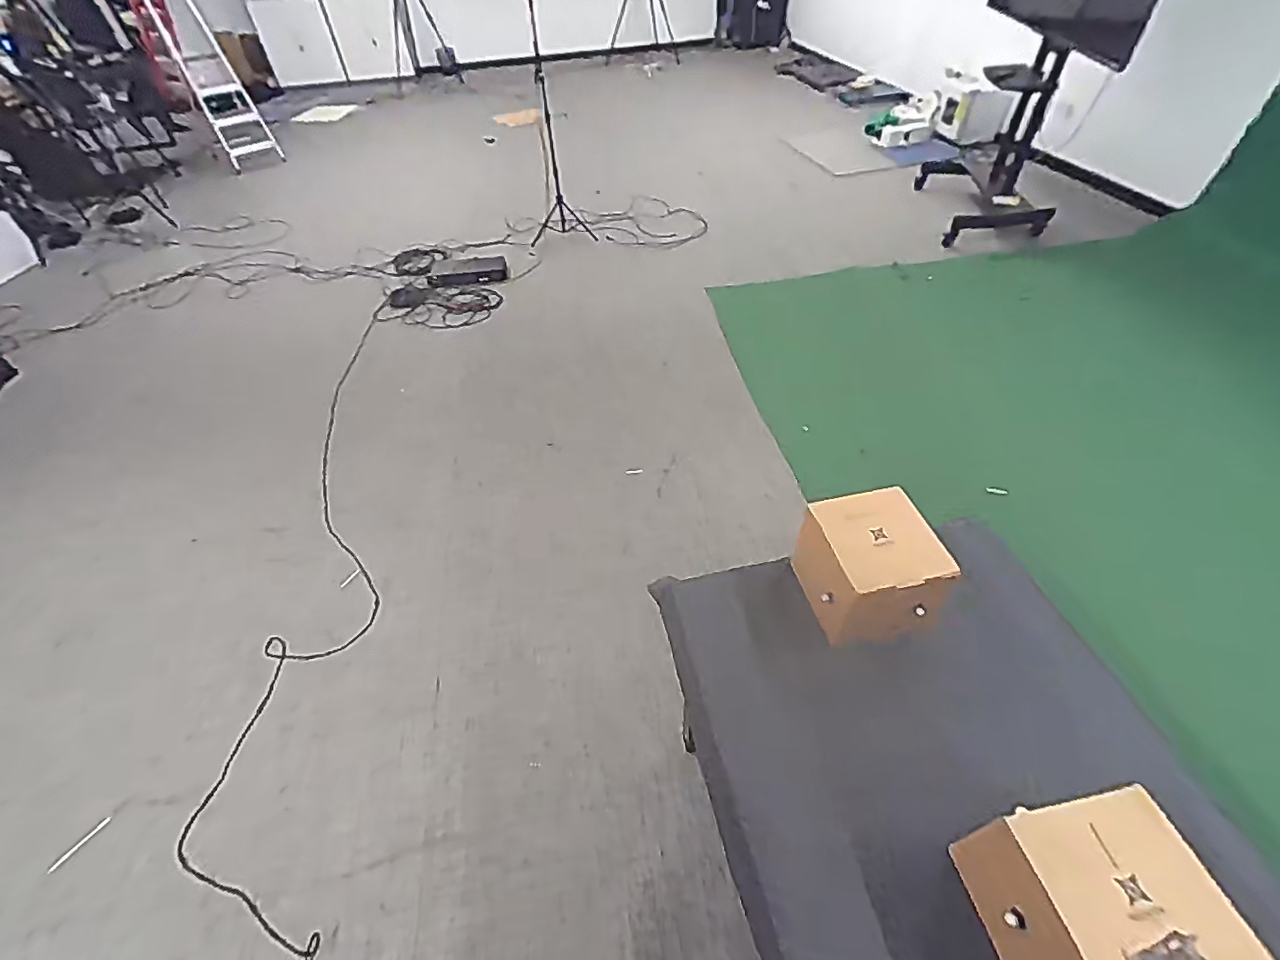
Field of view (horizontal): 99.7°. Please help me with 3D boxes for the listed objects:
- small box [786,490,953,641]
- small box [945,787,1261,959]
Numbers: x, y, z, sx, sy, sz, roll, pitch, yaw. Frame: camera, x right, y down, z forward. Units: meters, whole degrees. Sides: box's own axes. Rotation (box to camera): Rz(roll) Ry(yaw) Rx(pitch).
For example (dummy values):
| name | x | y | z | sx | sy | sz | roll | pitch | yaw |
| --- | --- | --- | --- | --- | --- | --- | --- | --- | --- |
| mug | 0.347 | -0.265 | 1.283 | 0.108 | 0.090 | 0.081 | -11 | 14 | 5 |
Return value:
| name | x | y | z | sx | sy | sz | roll | pitch | yaw |
| --- | --- | --- | --- | --- | --- | --- | --- | --- | --- |
| small box | 0.357 | 0.145 | 0.881 | 0.168 | 0.176 | 0.179 | -9 | 46 | -9 |
| small box | 0.472 | 0.459 | 0.577 | 0.168 | 0.176 | 0.179 | -8 | 46 | -7 |
